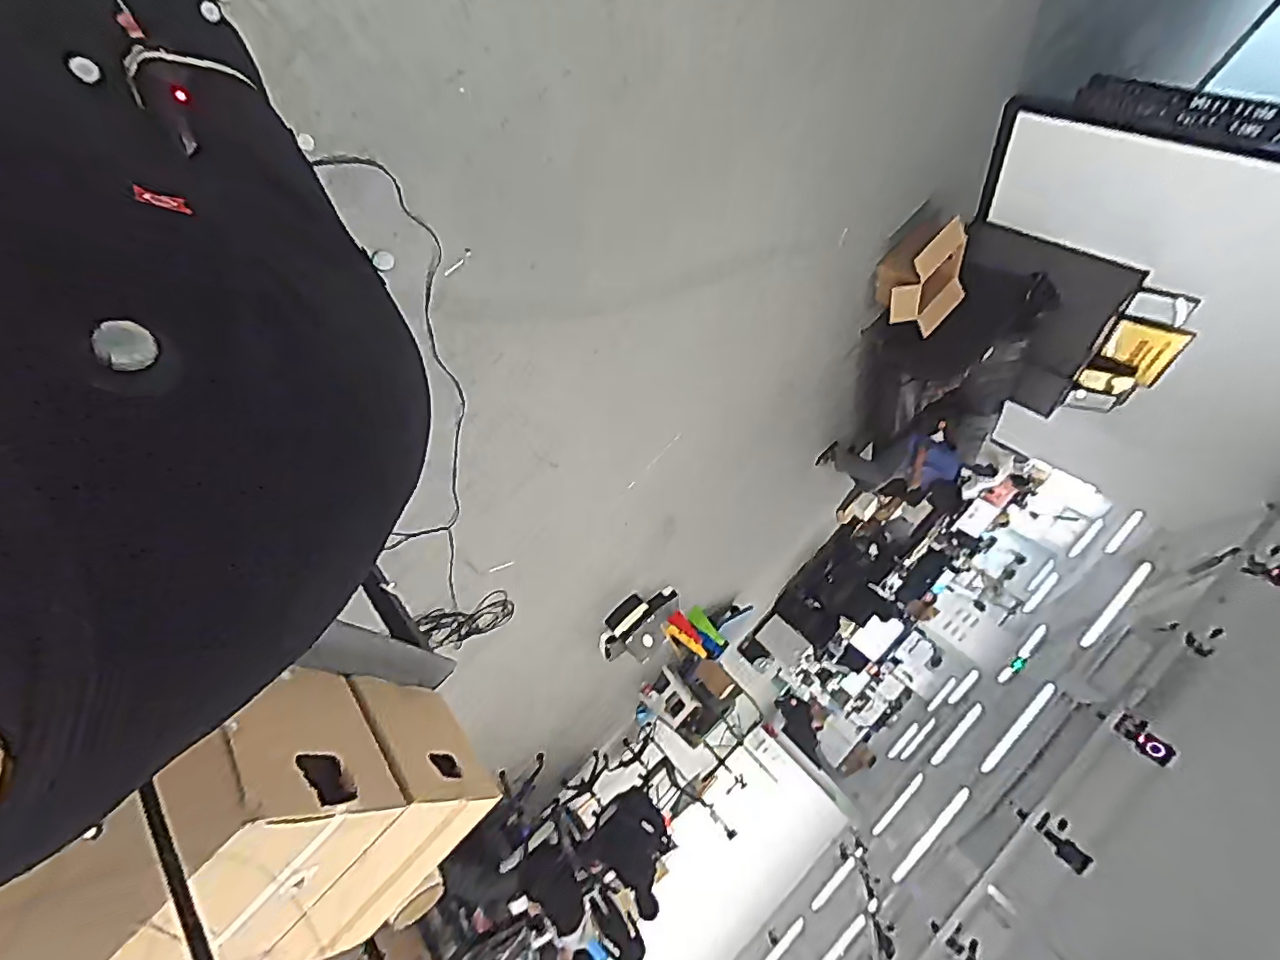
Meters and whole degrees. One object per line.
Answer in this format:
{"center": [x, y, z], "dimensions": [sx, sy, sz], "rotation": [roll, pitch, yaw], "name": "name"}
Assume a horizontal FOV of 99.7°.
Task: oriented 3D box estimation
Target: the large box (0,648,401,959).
{"center": [-0.687, 0.542, 0.856], "dimensions": [0.408, 0.320, 0.320], "rotation": [-47, 150, -7], "name": "large box"}
